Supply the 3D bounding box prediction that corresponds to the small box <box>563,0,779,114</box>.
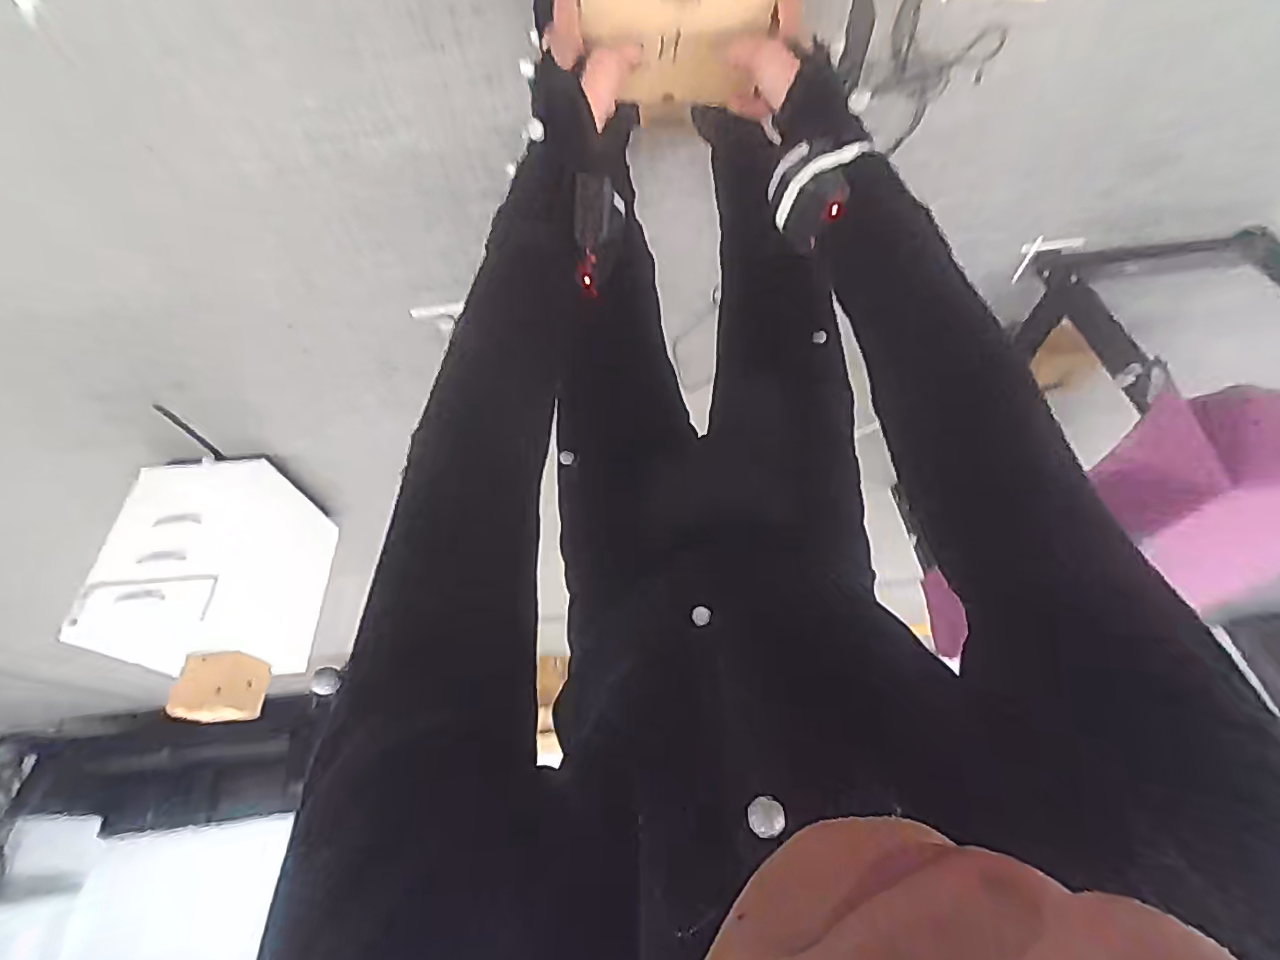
[{"bbox_3d":[0.021,-0.459,0.476,0.168,0.176,0.179,-5,146,-11],"label":"small box"}]
